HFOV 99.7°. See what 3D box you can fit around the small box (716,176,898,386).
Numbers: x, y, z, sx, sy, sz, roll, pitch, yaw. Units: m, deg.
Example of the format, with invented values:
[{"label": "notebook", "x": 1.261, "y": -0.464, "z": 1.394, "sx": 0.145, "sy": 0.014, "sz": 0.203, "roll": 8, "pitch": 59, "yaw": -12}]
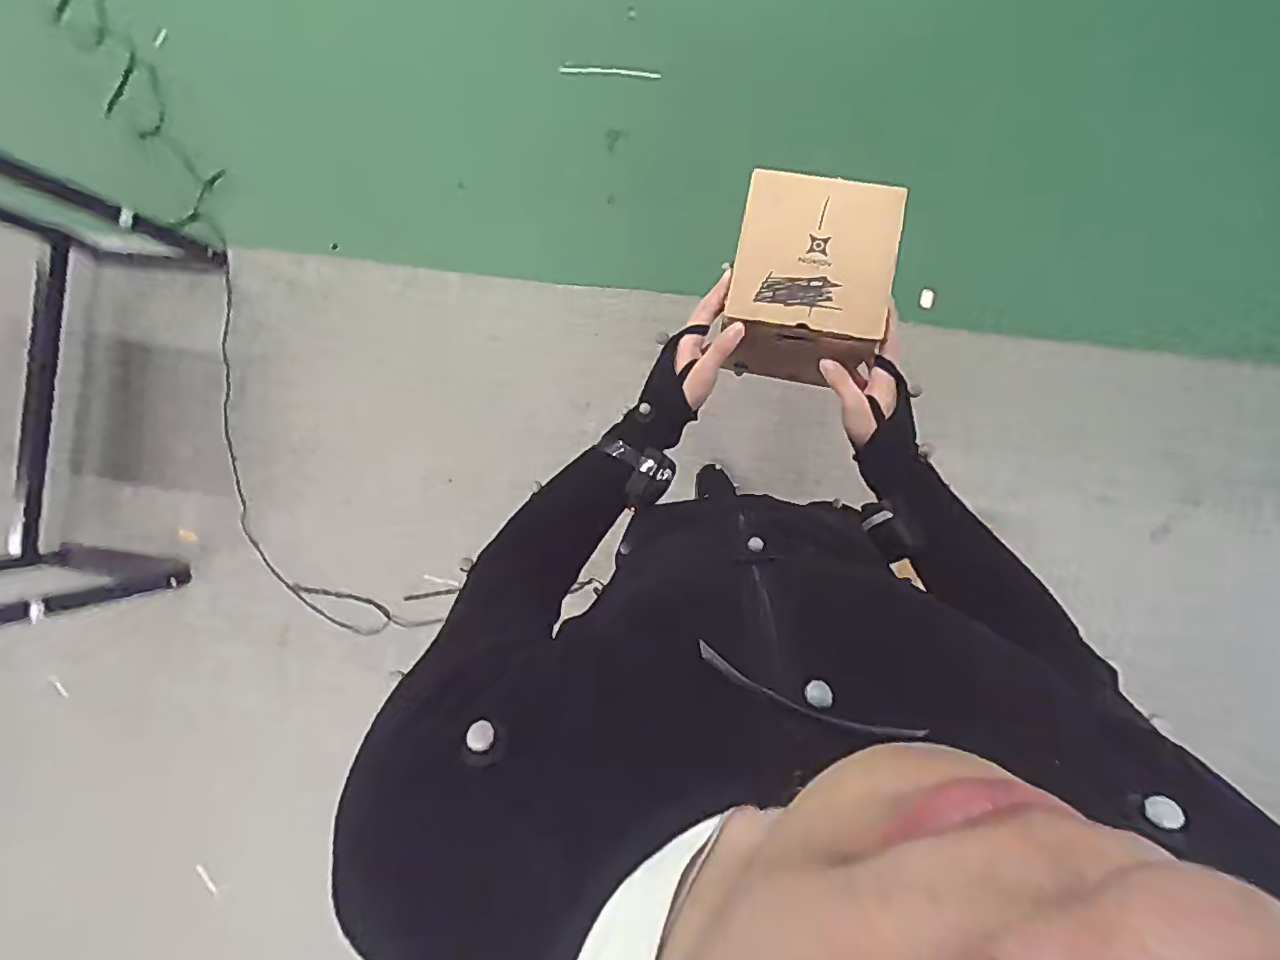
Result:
[{"label": "small box", "x": 0.187, "y": -0.226, "z": 0.654, "sx": 0.168, "sy": 0.176, "sz": 0.179, "roll": 10, "pitch": 84, "yaw": 7}]
